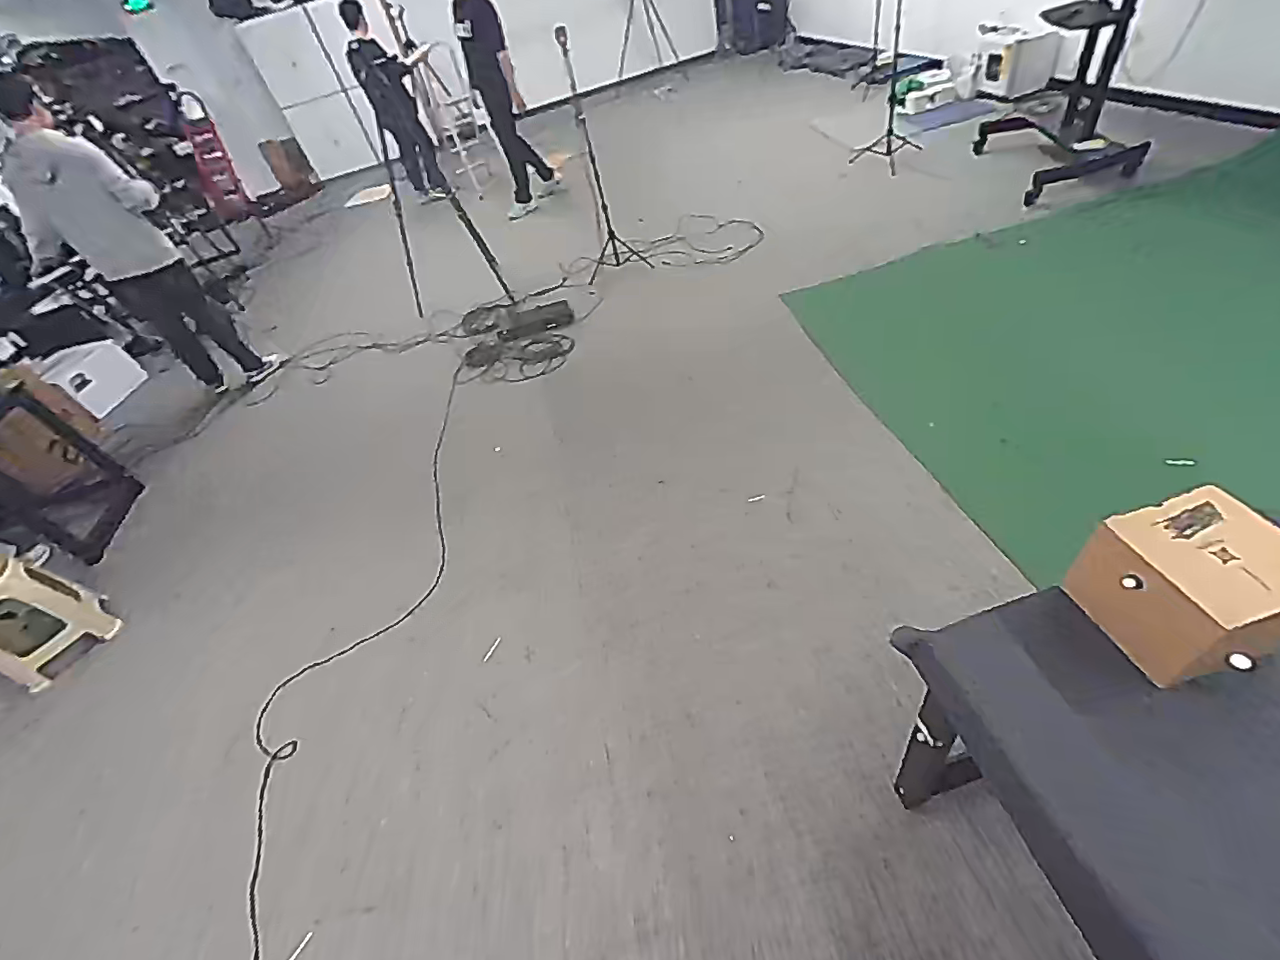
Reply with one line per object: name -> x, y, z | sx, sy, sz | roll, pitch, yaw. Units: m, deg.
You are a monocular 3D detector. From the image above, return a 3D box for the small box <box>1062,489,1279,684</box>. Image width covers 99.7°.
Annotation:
small box -> 0.736, 0.146, 0.738 | 0.168, 0.176, 0.179 | -18, 46, -2
